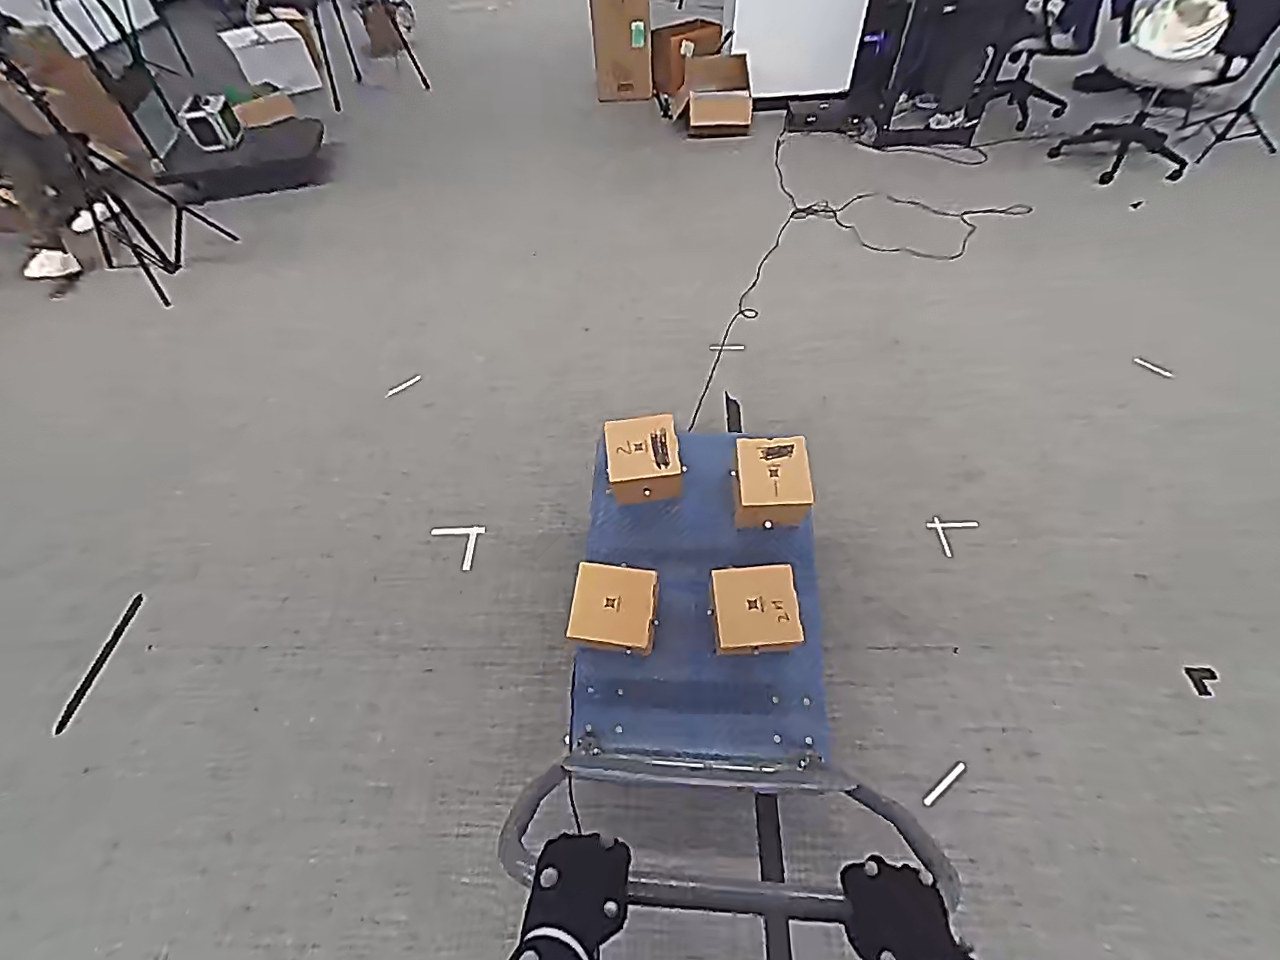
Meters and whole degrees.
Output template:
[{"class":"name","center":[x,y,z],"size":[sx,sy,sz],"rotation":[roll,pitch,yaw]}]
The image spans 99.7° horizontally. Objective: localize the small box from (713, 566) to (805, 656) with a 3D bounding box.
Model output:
[{"class":"small box","center":[0.257,0.300,1.218],"size":[0.179,0.176,0.168],"rotation":[-5,66,3]}]

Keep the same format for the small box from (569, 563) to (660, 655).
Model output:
[{"class":"small box","center":[-0.051,0.301,1.243],"size":[0.179,0.176,0.168],"rotation":[6,67,5]}]

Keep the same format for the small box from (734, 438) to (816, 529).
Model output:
[{"class":"small box","center":[0.326,0.012,1.339],"size":[0.168,0.176,0.179],"rotation":[-2,67,4]}]
